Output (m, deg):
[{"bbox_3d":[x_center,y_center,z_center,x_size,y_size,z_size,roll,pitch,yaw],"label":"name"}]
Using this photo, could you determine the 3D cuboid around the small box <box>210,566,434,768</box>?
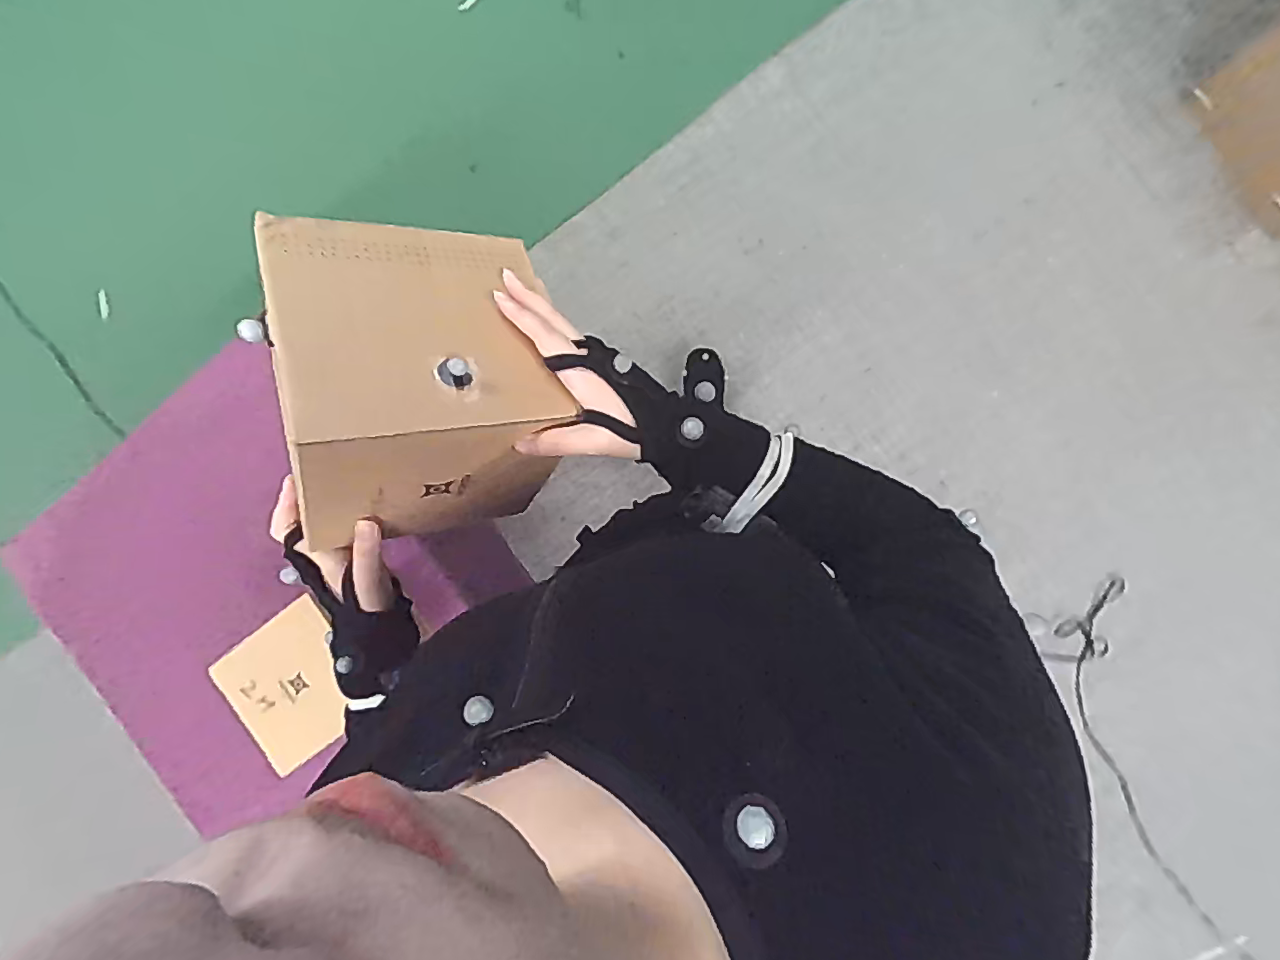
[{"bbox_3d":[-0.413,0.240,0.741,0.179,0.176,0.168,-36,87,8],"label":"small box"}]
